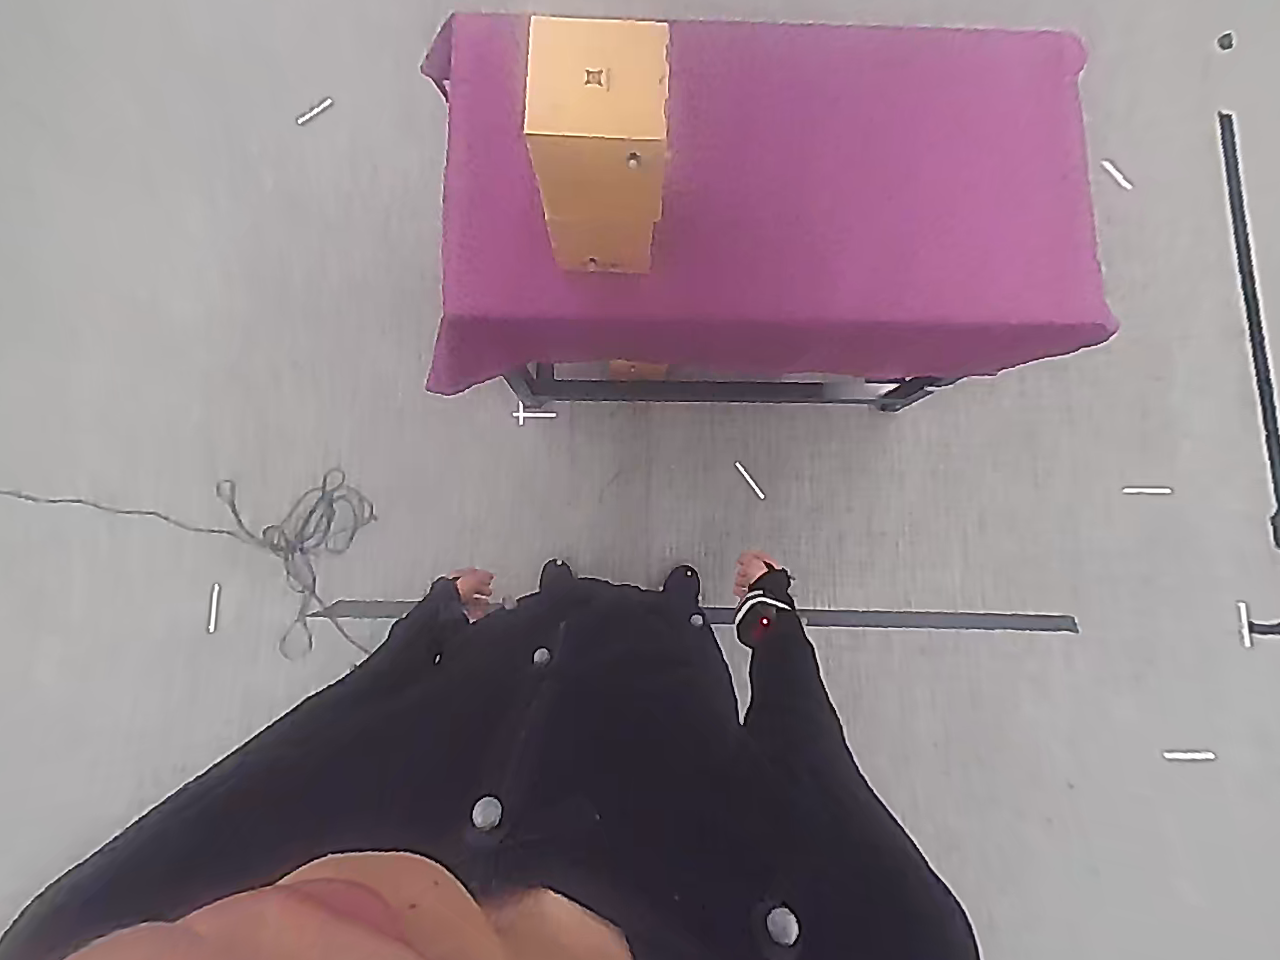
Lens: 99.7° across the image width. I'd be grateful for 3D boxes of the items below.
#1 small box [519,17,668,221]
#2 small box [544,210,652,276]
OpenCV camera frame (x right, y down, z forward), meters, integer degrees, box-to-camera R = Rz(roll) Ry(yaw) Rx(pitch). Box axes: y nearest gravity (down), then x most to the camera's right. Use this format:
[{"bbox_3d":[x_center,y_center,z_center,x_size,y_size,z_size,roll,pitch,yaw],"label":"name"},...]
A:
[{"bbox_3d":[-0.056,-0.479,0.739,0.179,0.176,0.168,2,83,-1],"label":"small box"},{"bbox_3d":[-0.063,-0.466,0.900,0.168,0.176,0.179,1,84,-1],"label":"small box"}]
